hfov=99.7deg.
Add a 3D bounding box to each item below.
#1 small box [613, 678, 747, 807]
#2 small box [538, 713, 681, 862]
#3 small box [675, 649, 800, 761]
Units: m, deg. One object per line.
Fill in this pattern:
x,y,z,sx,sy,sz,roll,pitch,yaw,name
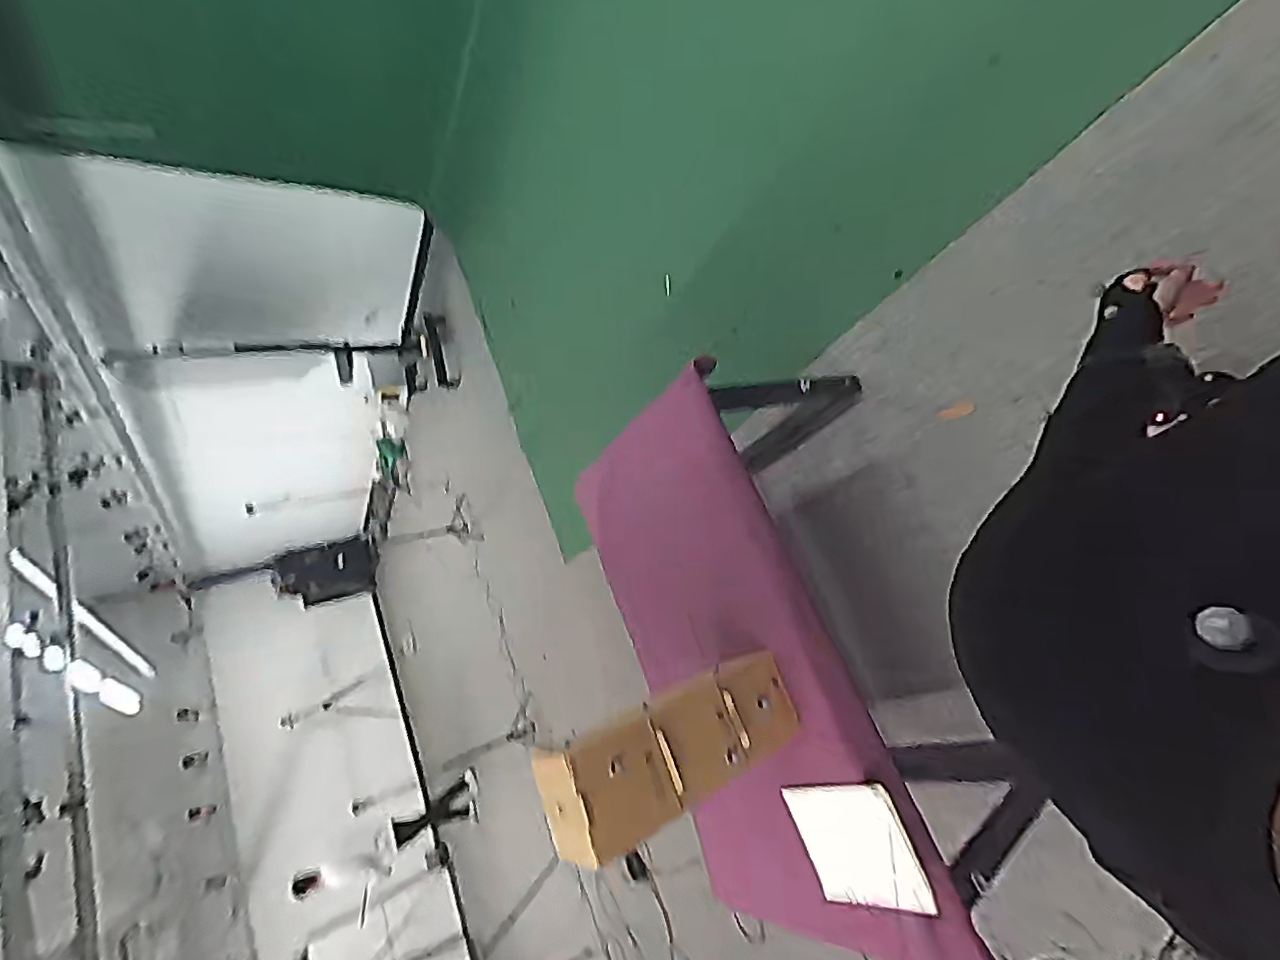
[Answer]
0.080,0.493,1.031,0.179,0.176,0.168,-42,65,52,small box
-0.049,0.516,0.933,0.179,0.176,0.168,-40,66,52,small box
0.208,0.469,1.131,0.179,0.176,0.168,-41,66,50,small box
